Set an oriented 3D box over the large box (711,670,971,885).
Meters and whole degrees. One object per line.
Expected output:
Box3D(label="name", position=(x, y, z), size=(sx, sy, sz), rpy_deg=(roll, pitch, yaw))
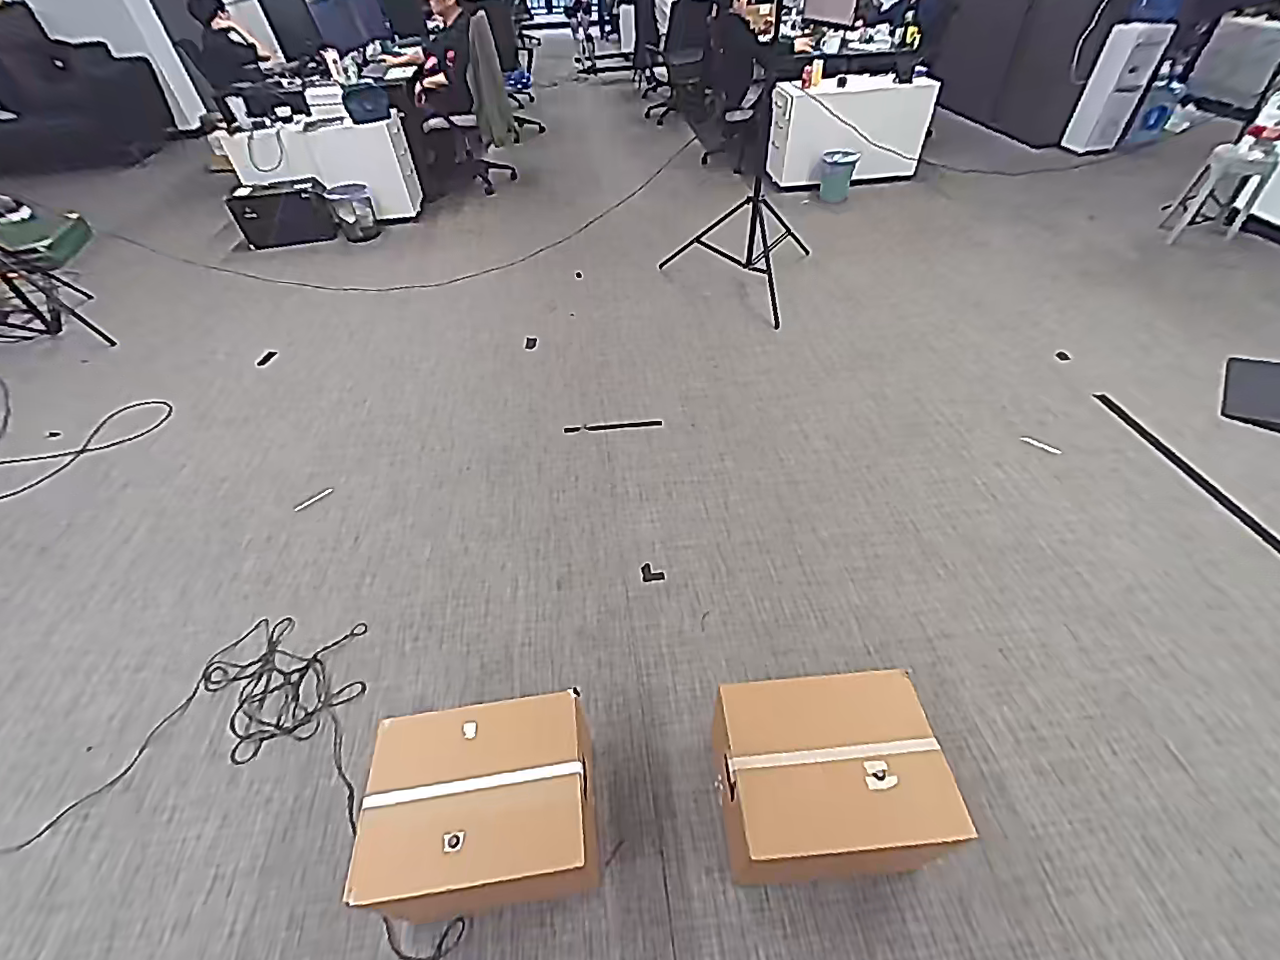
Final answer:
Box3D(label="large box", position=(0.383, 0.637, 1.159), size=(0.408, 0.320, 0.320), rpy_deg=(-4, 46, -2))
